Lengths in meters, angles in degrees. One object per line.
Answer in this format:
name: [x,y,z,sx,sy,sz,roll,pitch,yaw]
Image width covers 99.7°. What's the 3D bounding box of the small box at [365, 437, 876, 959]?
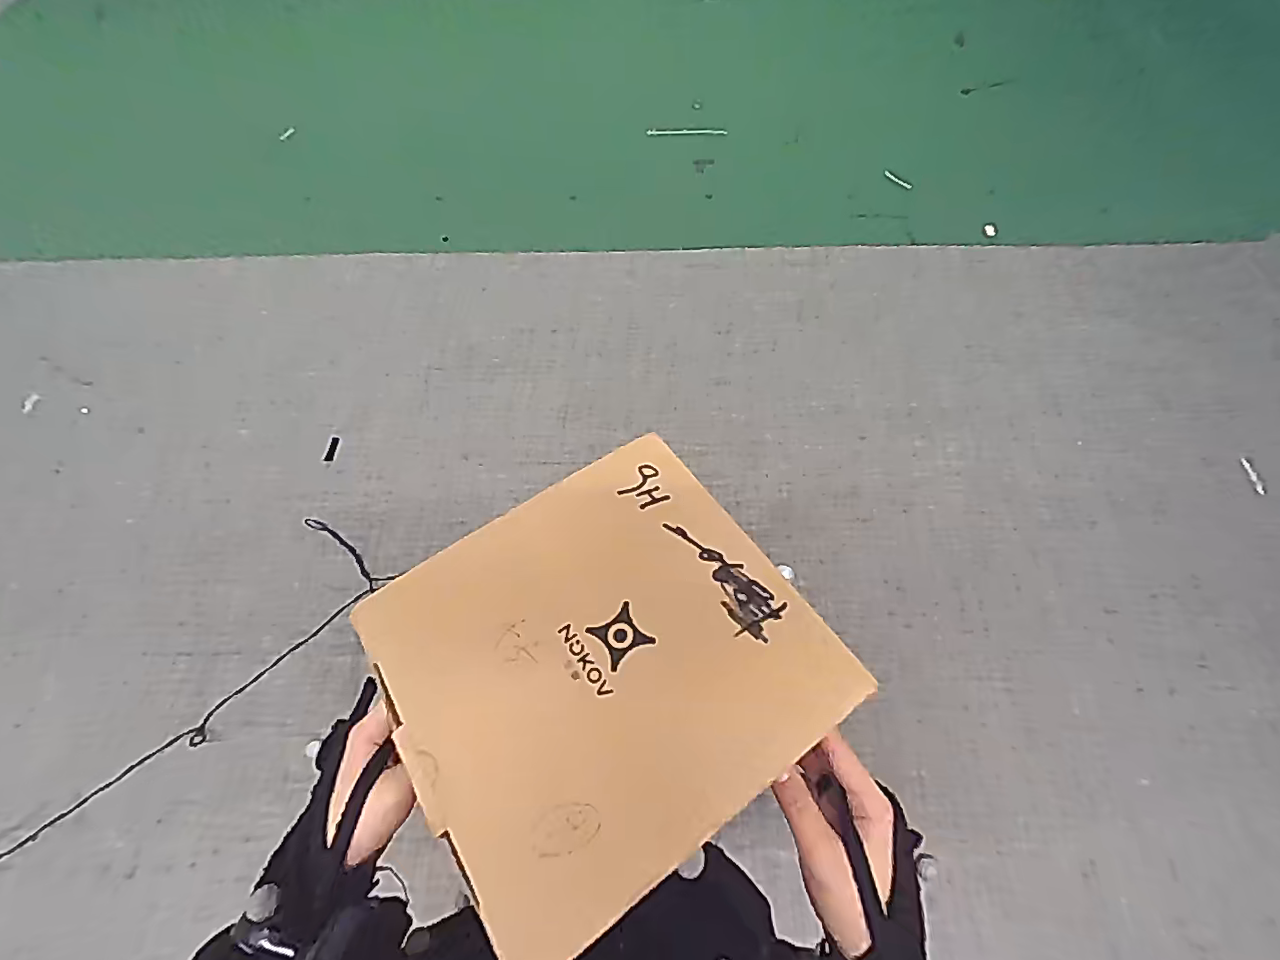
small box: [-0.011,0.115,0.307,0.179,0.176,0.168,-31,63,-16]
